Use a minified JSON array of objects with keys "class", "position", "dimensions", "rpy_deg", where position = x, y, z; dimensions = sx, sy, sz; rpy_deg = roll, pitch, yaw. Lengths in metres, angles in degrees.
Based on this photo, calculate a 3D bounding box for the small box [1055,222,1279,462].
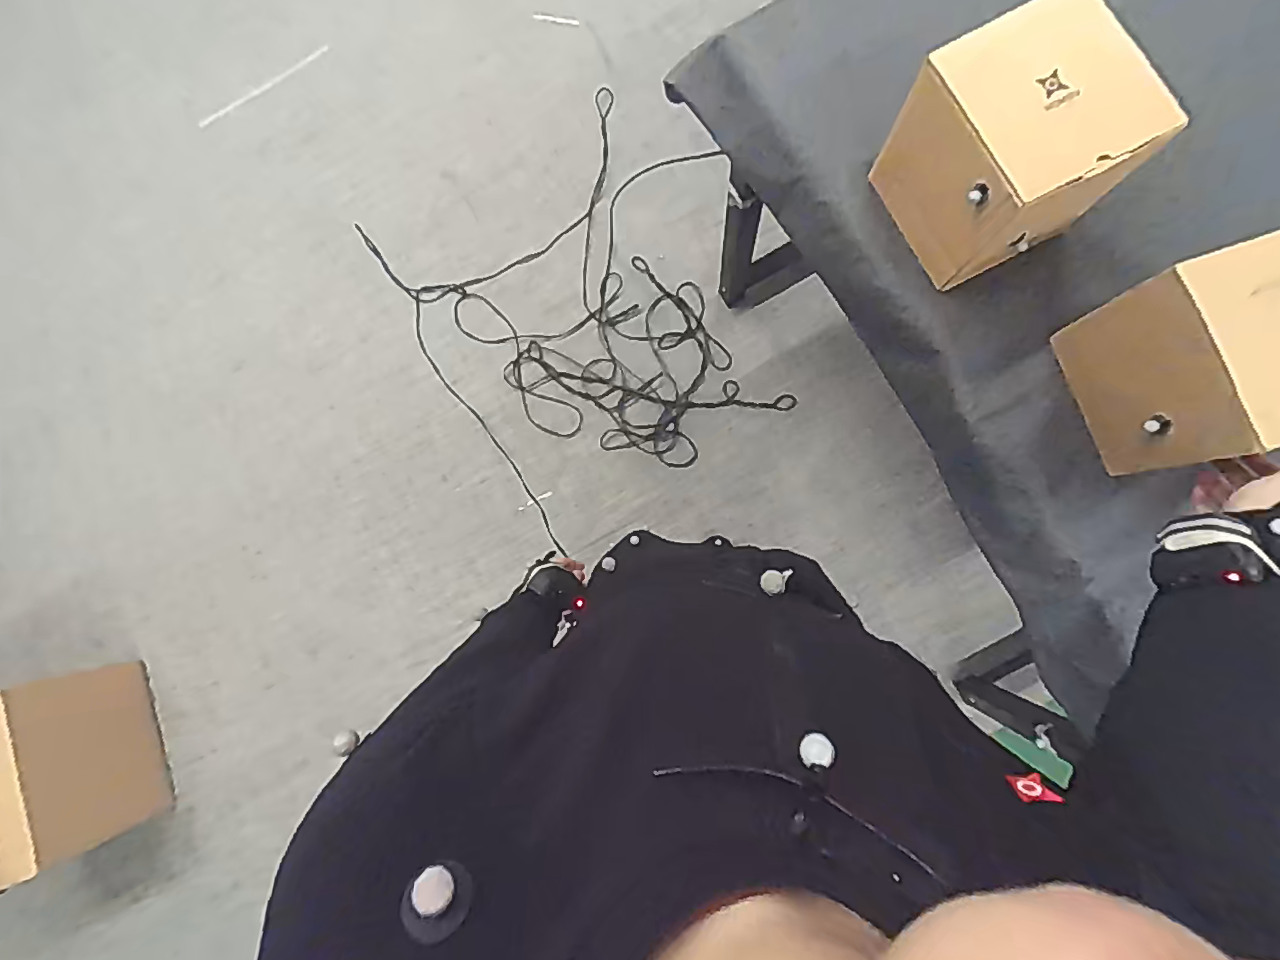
[{"class":"small box","position":[0.564,-0.124,0.524],"dimensions":[0.168,0.176,0.179],"rpy_deg":[-19,81,2]}]

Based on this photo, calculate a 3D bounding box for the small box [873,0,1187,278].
[{"class":"small box","position":[0.379,-0.353,0.568],"dimensions":[0.168,0.176,0.179],"rpy_deg":[-27,83,1]}]

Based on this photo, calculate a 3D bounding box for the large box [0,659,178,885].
[{"class":"large box","position":[-1.433,0.704,1.311],"dimensions":[0.320,0.320,0.408],"rpy_deg":[-22,80,2]}]
